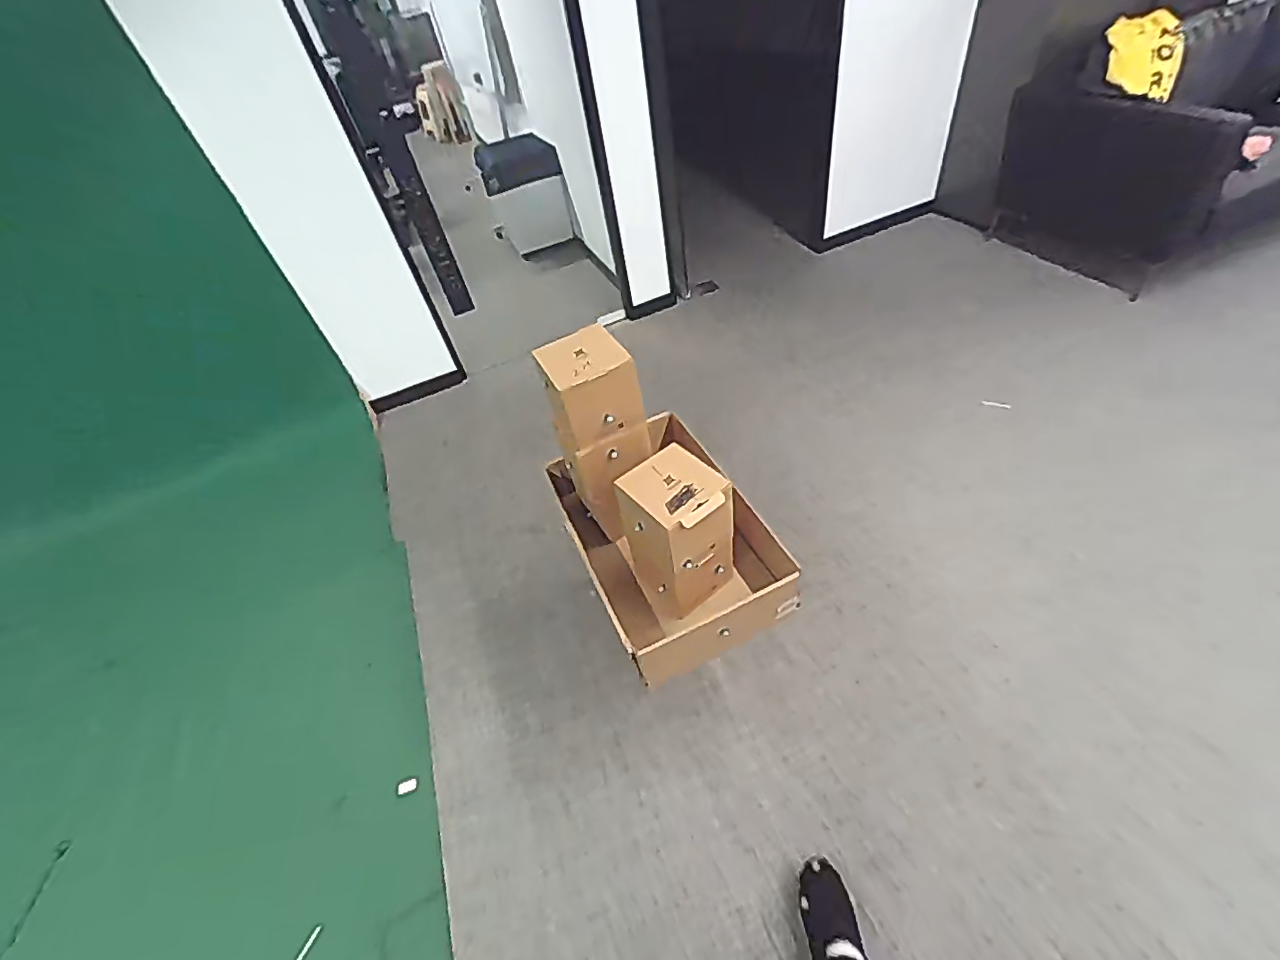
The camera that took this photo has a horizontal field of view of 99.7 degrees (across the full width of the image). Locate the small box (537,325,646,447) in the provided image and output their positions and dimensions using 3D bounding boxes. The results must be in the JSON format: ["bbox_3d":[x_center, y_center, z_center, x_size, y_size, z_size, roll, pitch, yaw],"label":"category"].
[{"bbox_3d":[-0.102,-0.203,1.180,0.168,0.176,0.179,-26,48,-11],"label":"small box"}]

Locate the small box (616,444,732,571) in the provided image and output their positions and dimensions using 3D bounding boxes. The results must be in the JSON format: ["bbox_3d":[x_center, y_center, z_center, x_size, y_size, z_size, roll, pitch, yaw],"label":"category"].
[{"bbox_3d":[0.077,0.063,1.123,0.168,0.176,0.179,-33,48,-20],"label":"small box"}]

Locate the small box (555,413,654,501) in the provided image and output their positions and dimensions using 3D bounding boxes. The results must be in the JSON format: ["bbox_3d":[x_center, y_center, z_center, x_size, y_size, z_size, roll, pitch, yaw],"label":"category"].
[{"bbox_3d":[-0.078,-0.083,1.292,0.179,0.176,0.168,-28,48,-12],"label":"small box"}]

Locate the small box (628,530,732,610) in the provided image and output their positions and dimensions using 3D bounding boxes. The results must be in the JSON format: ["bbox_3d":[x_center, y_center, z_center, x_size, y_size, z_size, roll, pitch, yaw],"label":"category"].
[{"bbox_3d":[0.099,0.173,1.243,0.168,0.176,0.179,-33,49,-19],"label":"small box"}]
